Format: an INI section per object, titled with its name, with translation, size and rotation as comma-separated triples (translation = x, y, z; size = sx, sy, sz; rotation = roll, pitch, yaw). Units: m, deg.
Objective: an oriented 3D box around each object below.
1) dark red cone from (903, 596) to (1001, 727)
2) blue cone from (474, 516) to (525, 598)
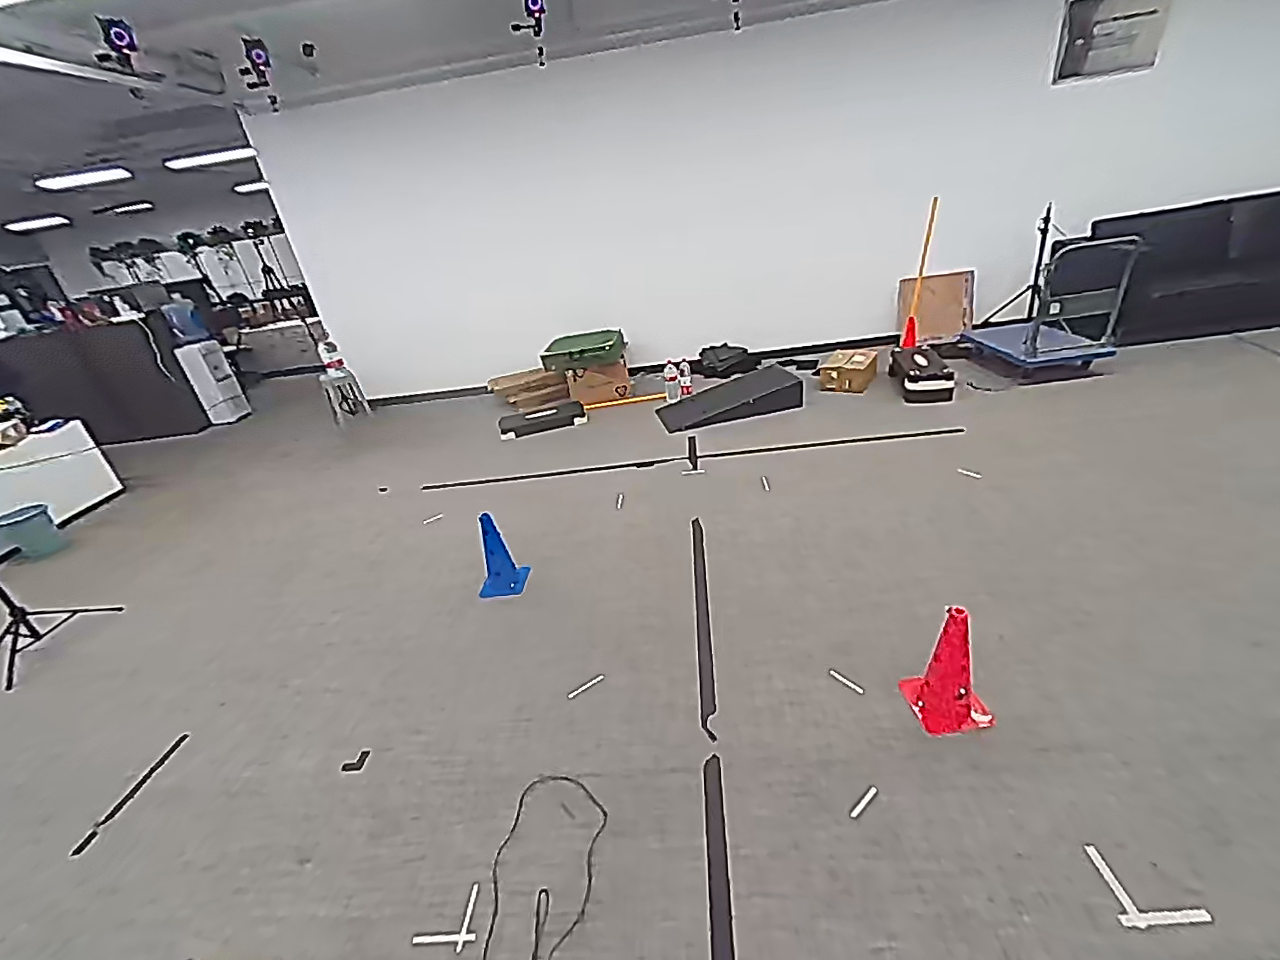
[dark red cone]
translation = 0.881, 0.486, 1.510
size = 0.201, 0.394, 0.202
rotation = -10, 27, 0
[blue cone]
translation = -0.647, 0.322, 2.368
size = 0.192, 0.380, 0.193
rotation = -6, 27, 7
